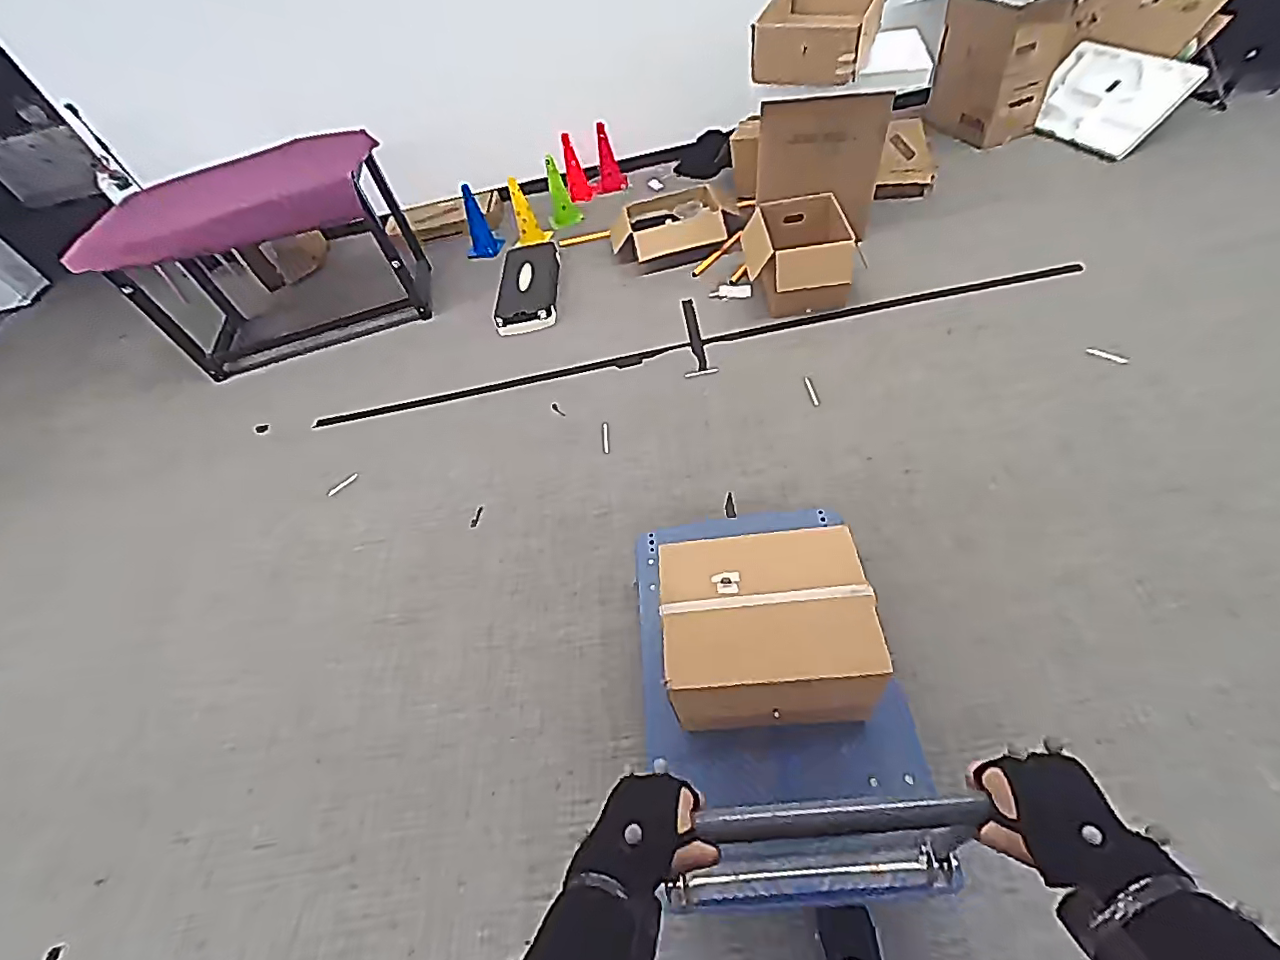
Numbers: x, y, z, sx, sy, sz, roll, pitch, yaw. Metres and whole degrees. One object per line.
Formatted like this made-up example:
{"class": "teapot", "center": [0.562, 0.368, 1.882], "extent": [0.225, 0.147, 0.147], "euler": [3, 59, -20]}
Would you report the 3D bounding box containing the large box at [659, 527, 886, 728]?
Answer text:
{"class": "large box", "center": [0.269, 0.335, 1.192], "extent": [0.408, 0.320, 0.320], "euler": [-8, 50, 7]}
